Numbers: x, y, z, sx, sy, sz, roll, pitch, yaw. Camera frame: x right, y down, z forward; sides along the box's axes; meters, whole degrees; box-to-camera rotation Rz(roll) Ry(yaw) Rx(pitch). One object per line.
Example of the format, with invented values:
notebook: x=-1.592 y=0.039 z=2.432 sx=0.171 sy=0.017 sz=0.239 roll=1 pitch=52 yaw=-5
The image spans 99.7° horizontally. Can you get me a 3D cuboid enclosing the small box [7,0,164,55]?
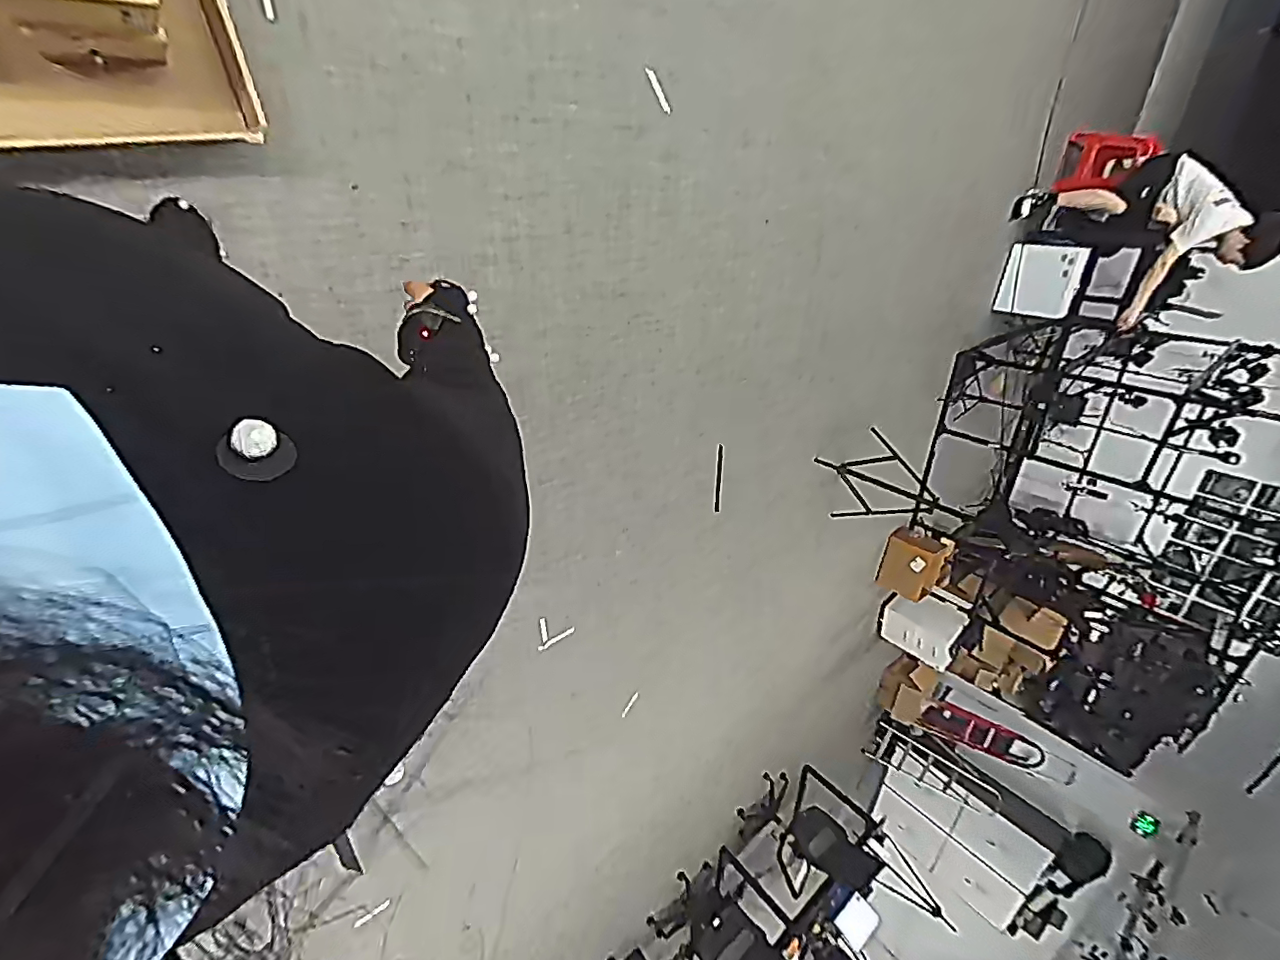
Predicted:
small box: x=-0.855 y=-0.762 z=0.805 sx=0.168 sy=0.176 sz=0.179 roll=-25 pitch=127 yaw=-31
